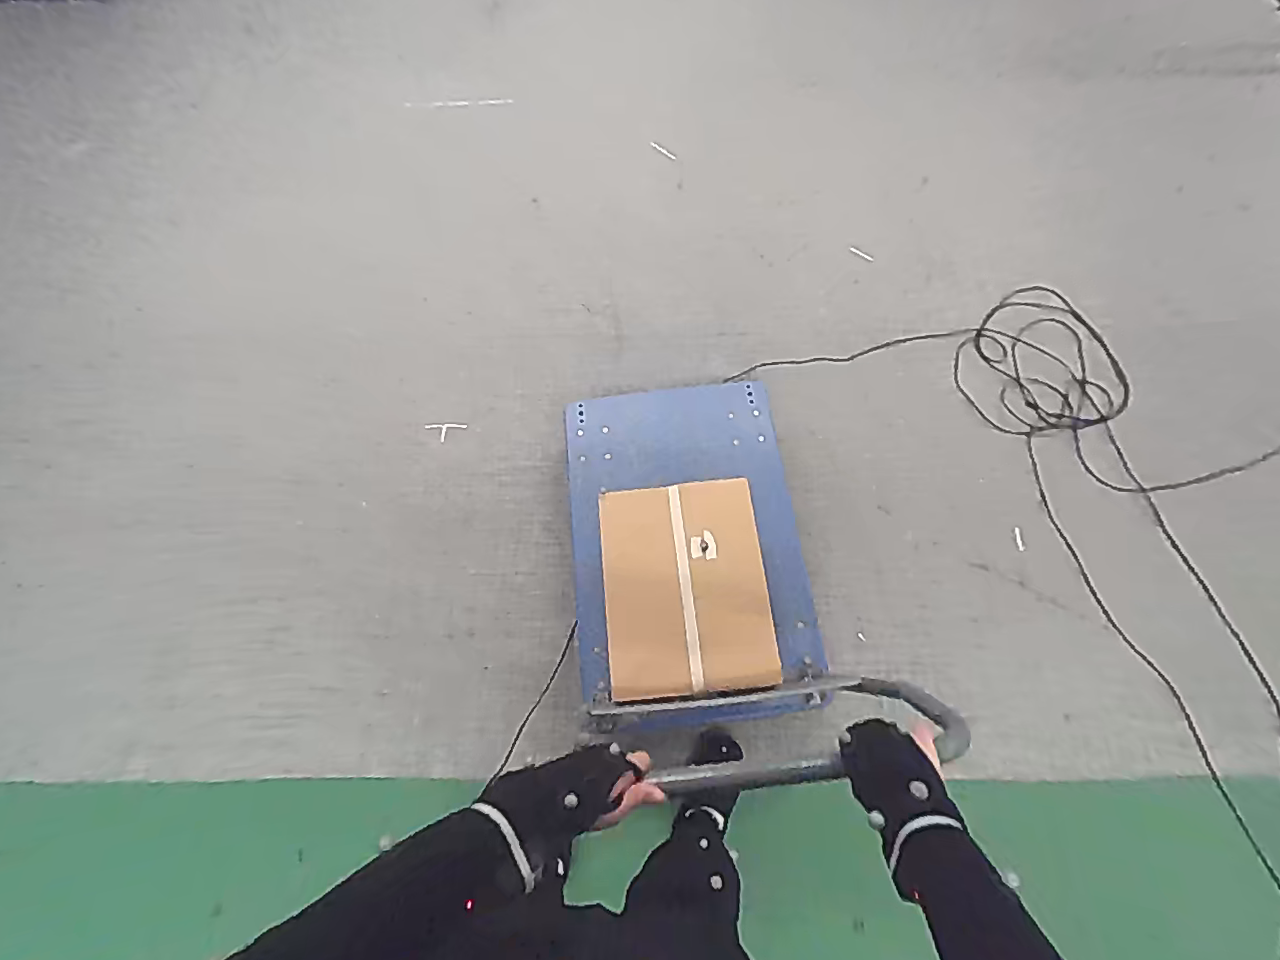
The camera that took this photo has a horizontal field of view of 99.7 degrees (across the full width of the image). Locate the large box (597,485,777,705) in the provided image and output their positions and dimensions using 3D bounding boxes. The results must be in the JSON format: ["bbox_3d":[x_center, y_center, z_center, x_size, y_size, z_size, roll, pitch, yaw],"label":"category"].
[{"bbox_3d":[0.089,0.267,1.202,0.320,0.320,0.408,-6,67,0],"label":"large box"}]
